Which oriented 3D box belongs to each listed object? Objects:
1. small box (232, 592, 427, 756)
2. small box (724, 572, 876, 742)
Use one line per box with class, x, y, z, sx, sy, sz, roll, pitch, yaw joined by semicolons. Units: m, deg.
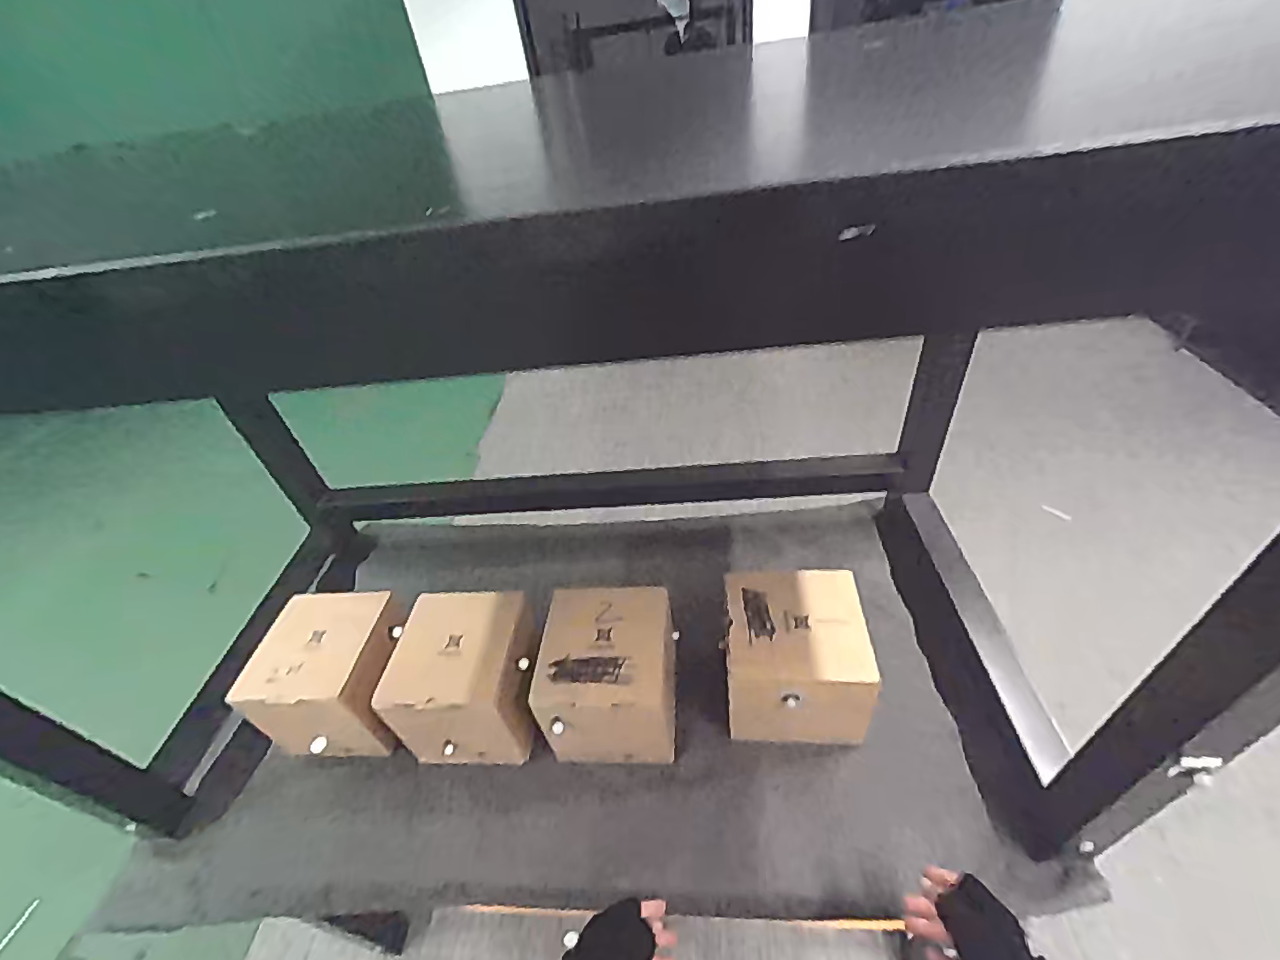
small box;-0.448;0.292;0.821;0.168;0.176;0.179;-4;40;7
small box;0.208;0.245;0.750;0.179;0.176;0.168;-1;41;8
